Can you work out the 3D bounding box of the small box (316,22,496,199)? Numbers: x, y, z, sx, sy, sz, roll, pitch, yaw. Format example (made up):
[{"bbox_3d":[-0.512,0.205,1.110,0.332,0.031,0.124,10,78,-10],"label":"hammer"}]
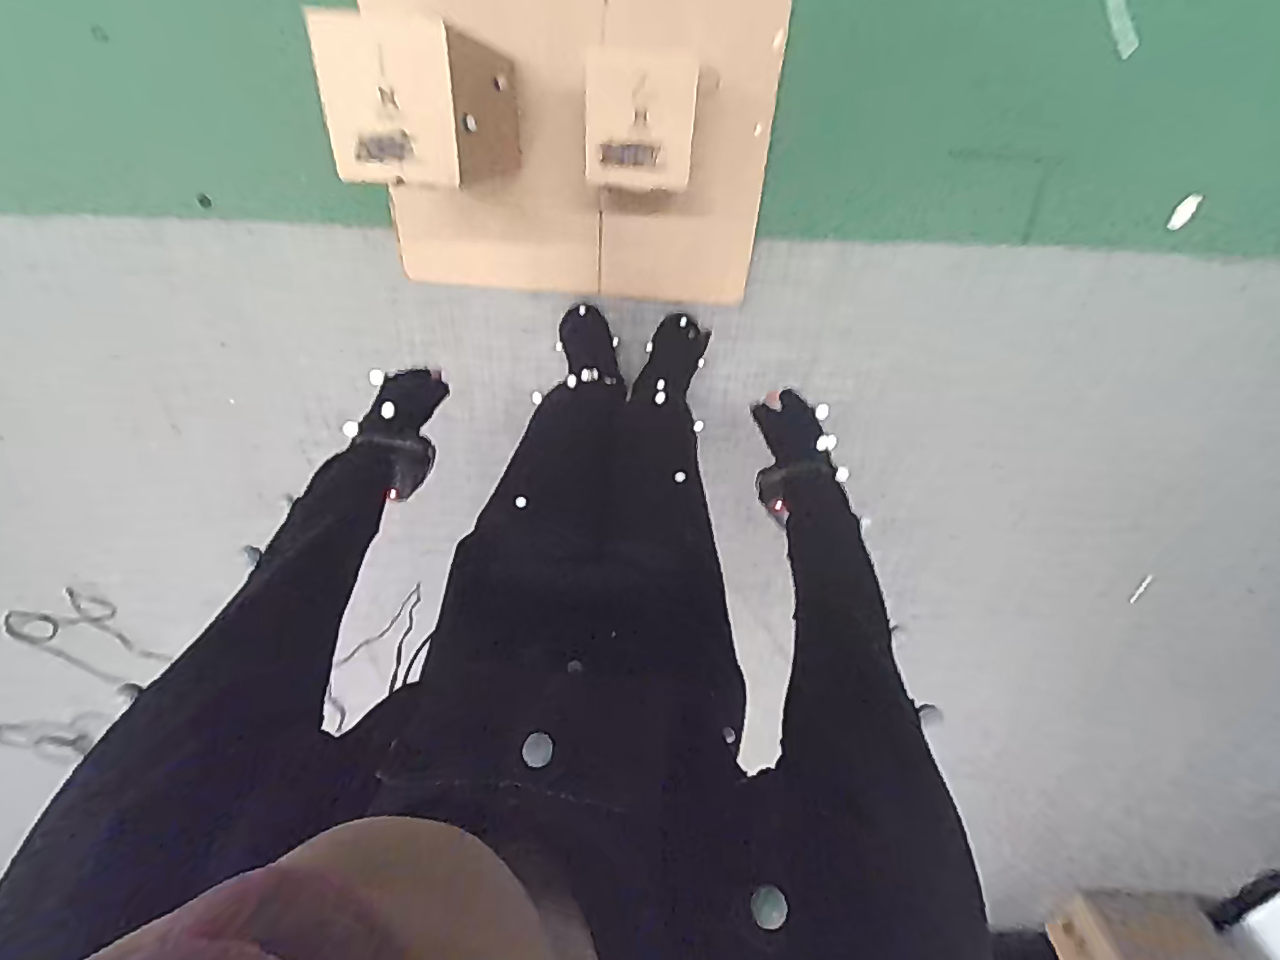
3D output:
[{"bbox_3d":[-0.304,-0.500,0.747,0.168,0.176,0.179,5,121,0],"label":"small box"}]

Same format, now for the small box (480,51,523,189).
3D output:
[{"bbox_3d":[-0.295,-0.586,0.887,0.168,0.176,0.179,4,122,1],"label":"small box"}]
